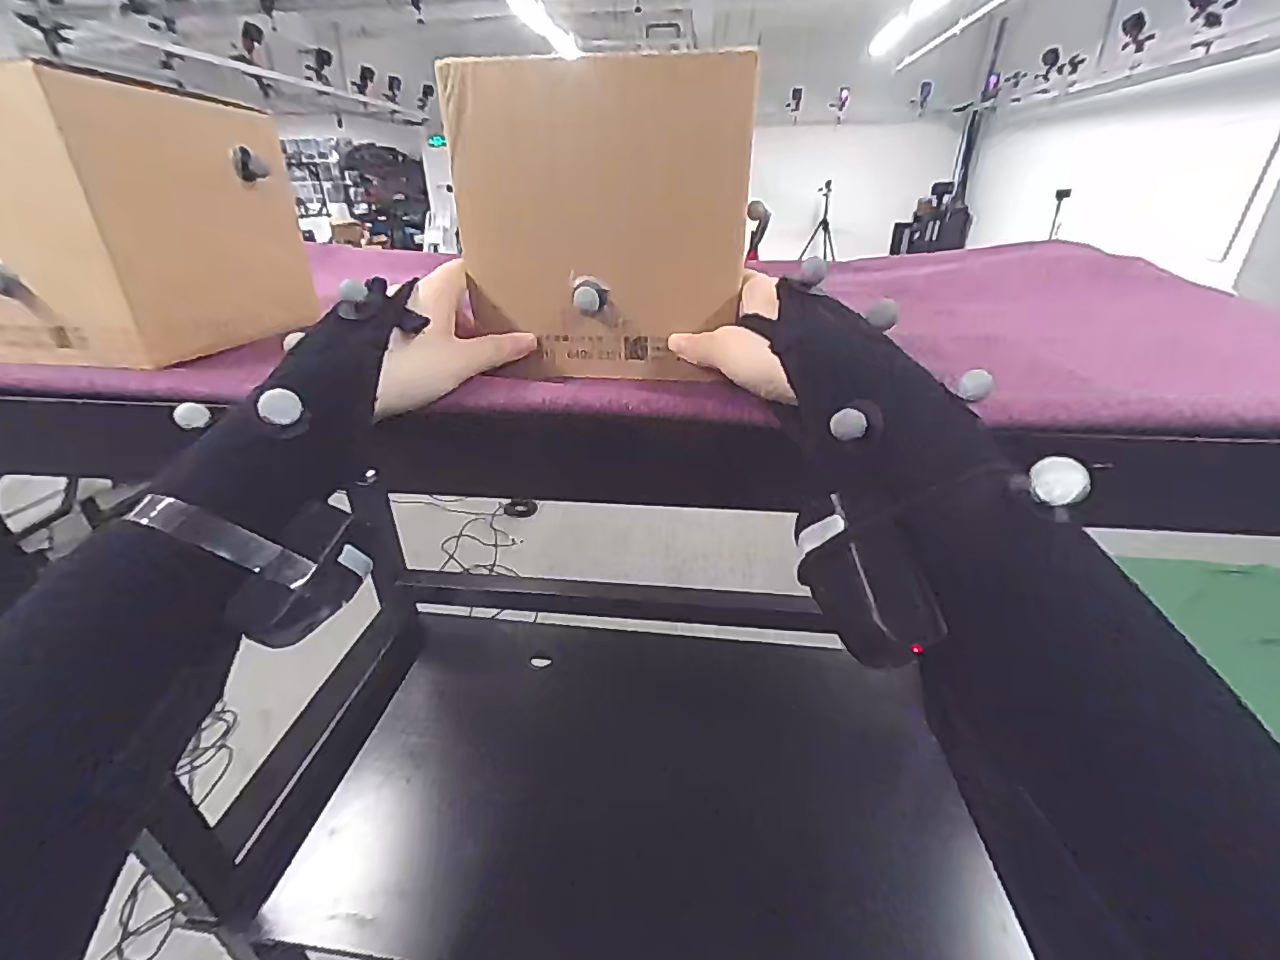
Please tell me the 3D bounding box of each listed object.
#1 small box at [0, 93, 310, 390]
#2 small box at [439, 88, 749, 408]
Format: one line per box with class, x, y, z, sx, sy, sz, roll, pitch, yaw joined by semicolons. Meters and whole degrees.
small box;-0.387;-0.177;0.410;0.168;0.176;0.179;3;28;7
small box;-0.015;-0.163;0.383;0.168;0.176;0.179;3;30;7
